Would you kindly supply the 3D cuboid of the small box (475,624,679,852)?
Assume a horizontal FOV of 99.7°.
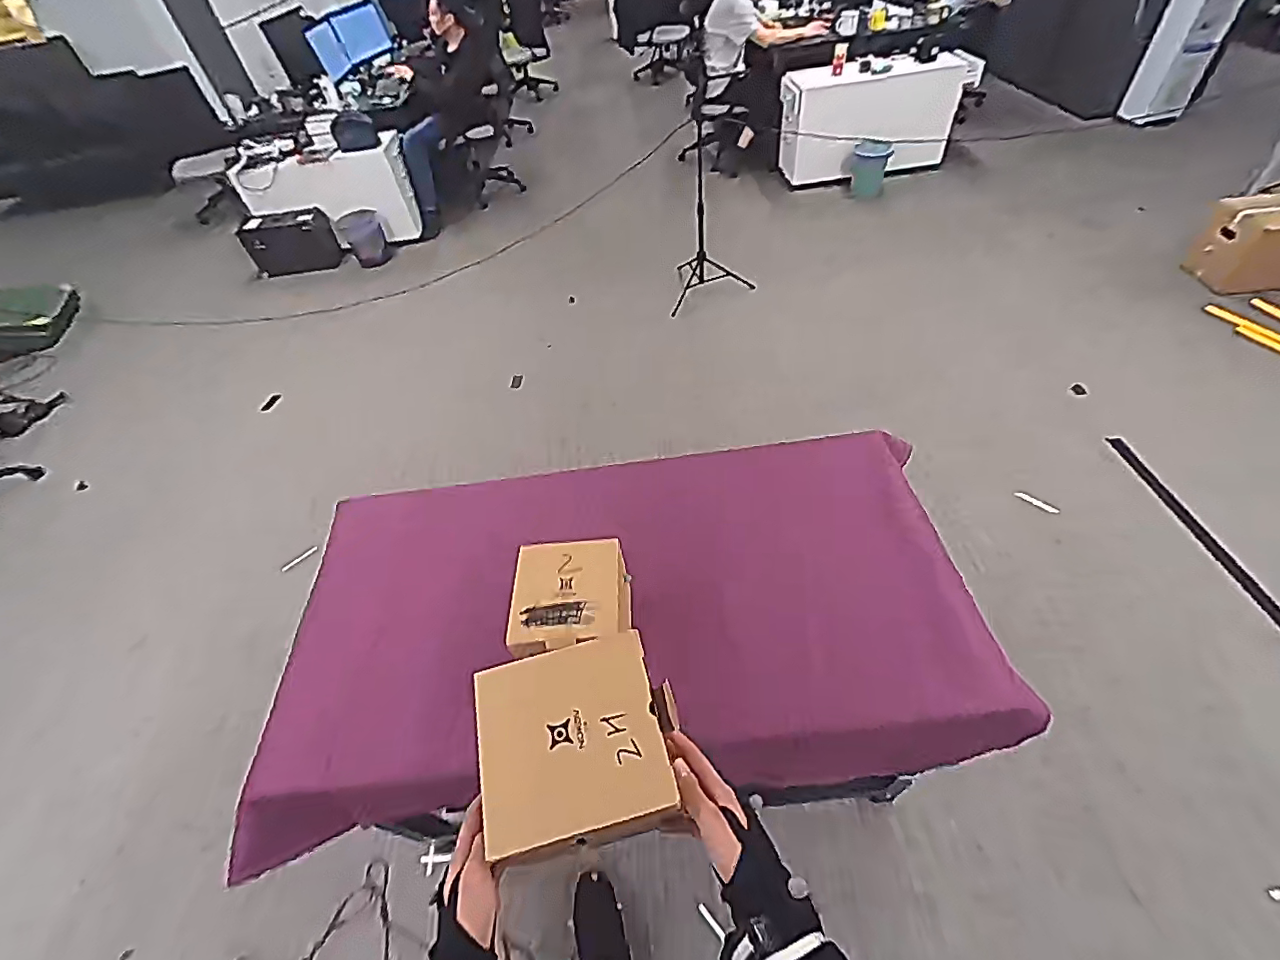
[{"bbox_3d":[-0.062,0.281,0.580,0.179,0.176,0.168,-13,53,-4],"label":"small box"}]
